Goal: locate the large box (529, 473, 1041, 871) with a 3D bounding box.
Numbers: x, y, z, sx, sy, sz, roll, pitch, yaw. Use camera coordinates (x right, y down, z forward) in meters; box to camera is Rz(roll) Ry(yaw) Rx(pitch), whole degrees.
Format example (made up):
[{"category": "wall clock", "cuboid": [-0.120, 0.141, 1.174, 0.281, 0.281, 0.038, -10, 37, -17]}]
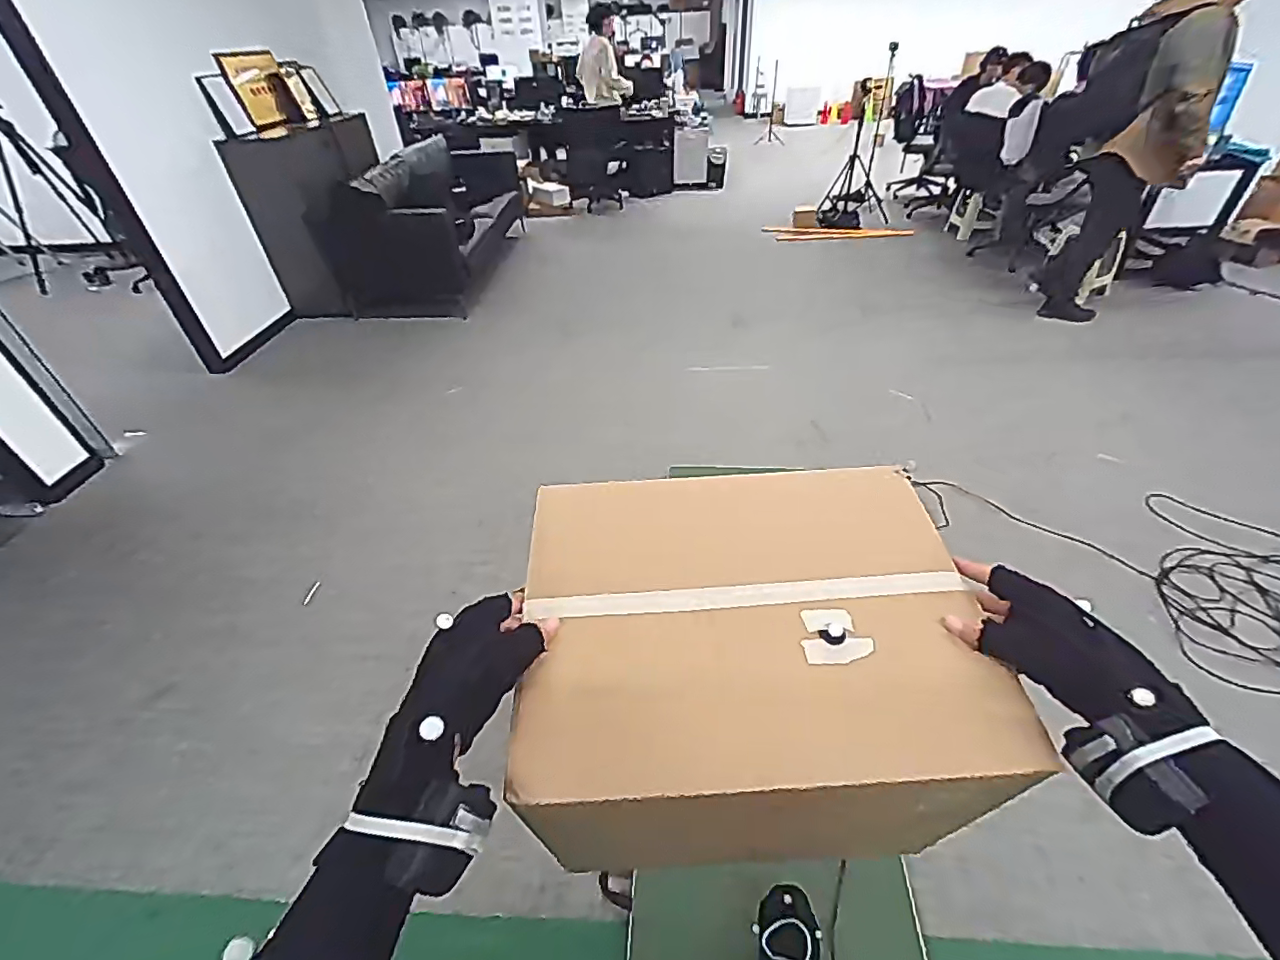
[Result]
[{"category": "large box", "cuboid": [0.105, 0.217, 0.616, 0.408, 0.320, 0.320, -3, 47, -1]}]
